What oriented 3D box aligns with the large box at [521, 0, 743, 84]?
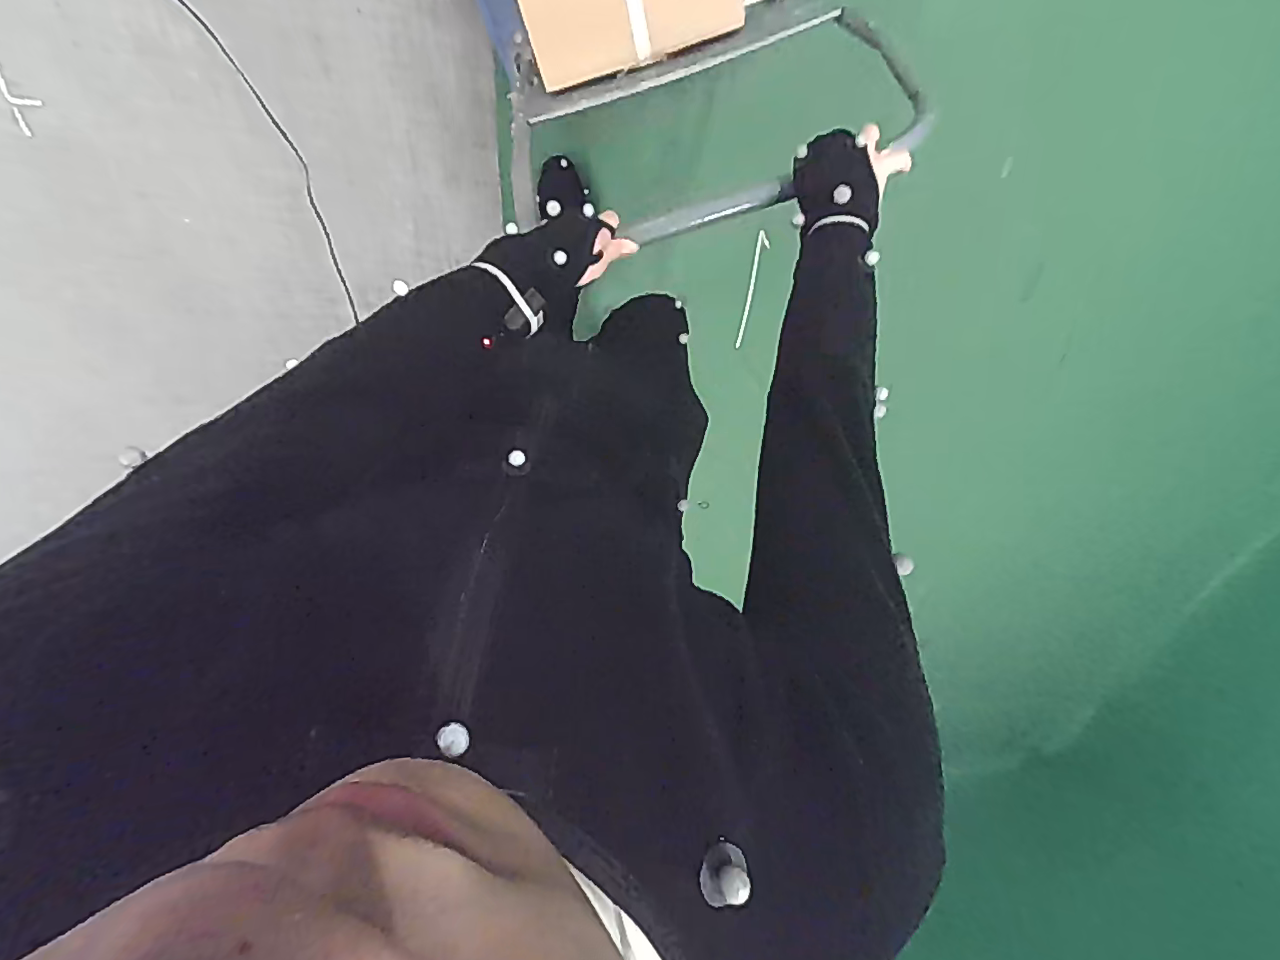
[{"bbox_3d":[-0.055,-0.887,0.788,0.320,0.320,0.408,-14,136,7],"label":"large box"}]
